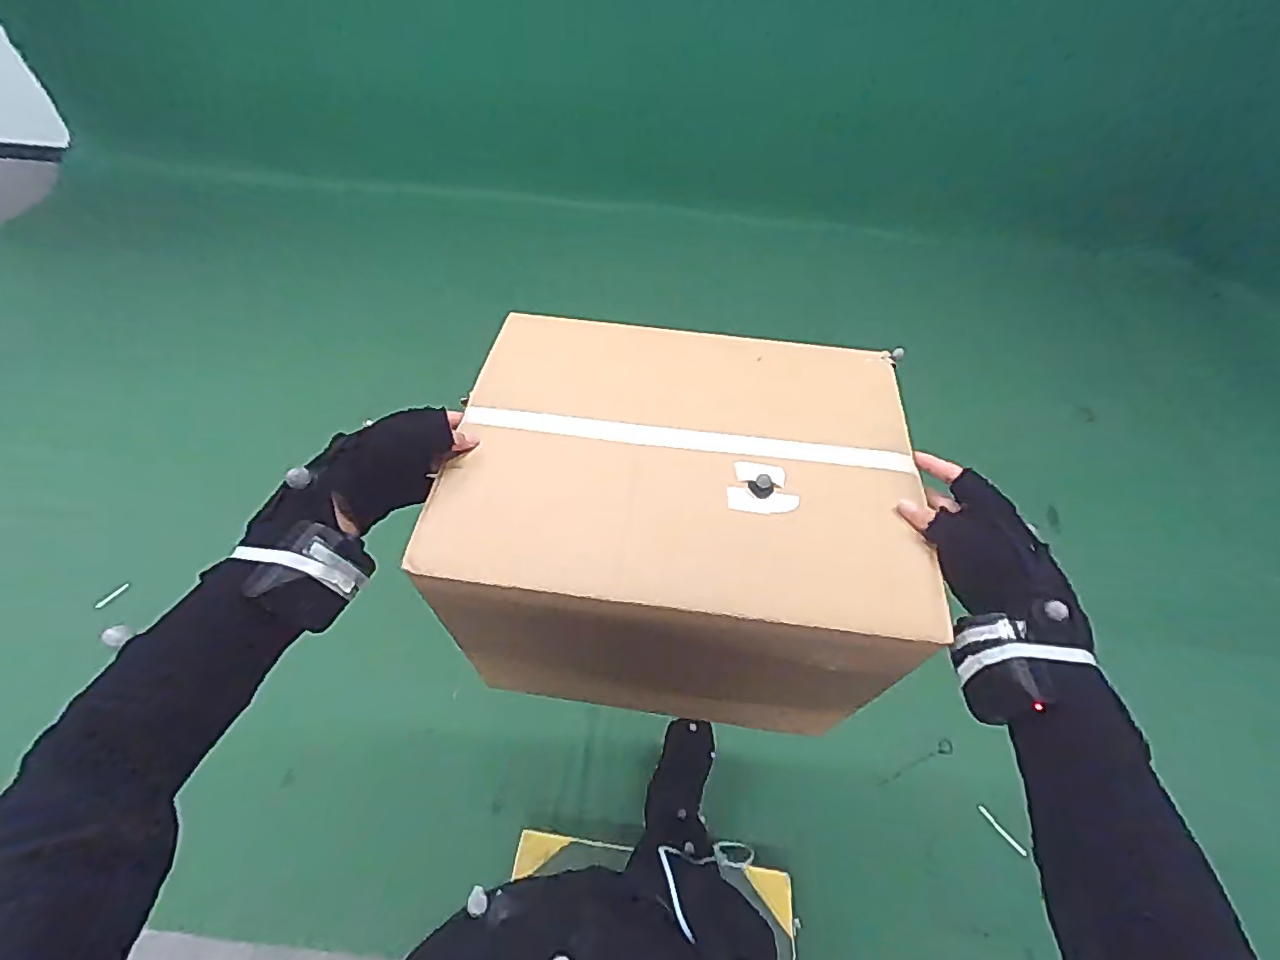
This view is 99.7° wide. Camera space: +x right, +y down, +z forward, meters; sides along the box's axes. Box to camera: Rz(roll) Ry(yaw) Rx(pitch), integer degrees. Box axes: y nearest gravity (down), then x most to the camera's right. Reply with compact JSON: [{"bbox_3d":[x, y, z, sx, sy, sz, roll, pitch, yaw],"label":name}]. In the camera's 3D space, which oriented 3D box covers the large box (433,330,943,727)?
[{"bbox_3d":[0.042,0.064,0.619,0.408,0.320,0.320,7,54,2],"label":"large box"}]
